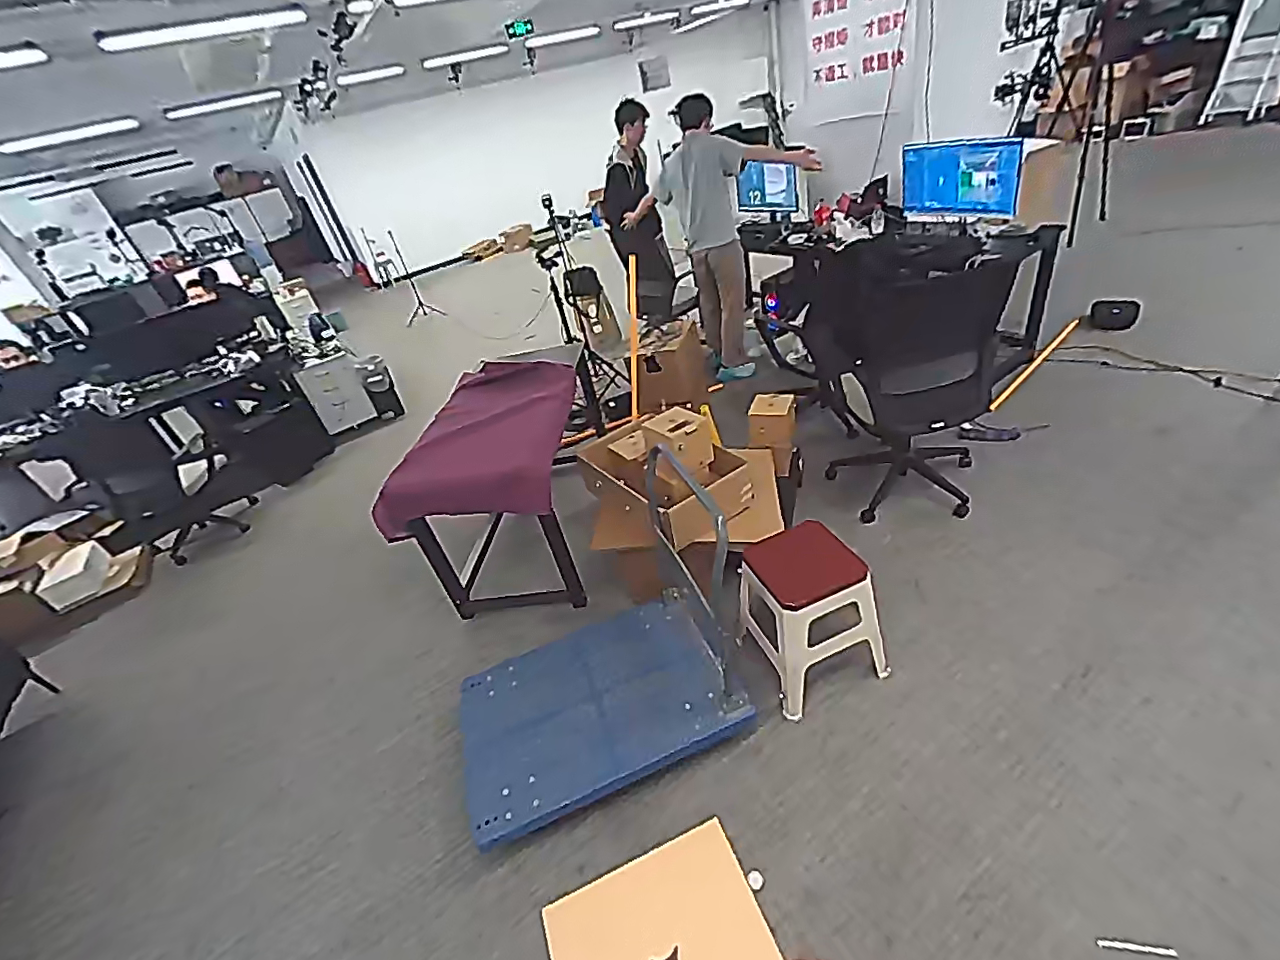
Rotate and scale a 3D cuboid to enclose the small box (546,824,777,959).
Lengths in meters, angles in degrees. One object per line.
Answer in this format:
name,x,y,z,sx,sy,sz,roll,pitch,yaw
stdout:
small box,0.034,0.442,0.456,0.168,0.176,0.179,-20,40,-10
